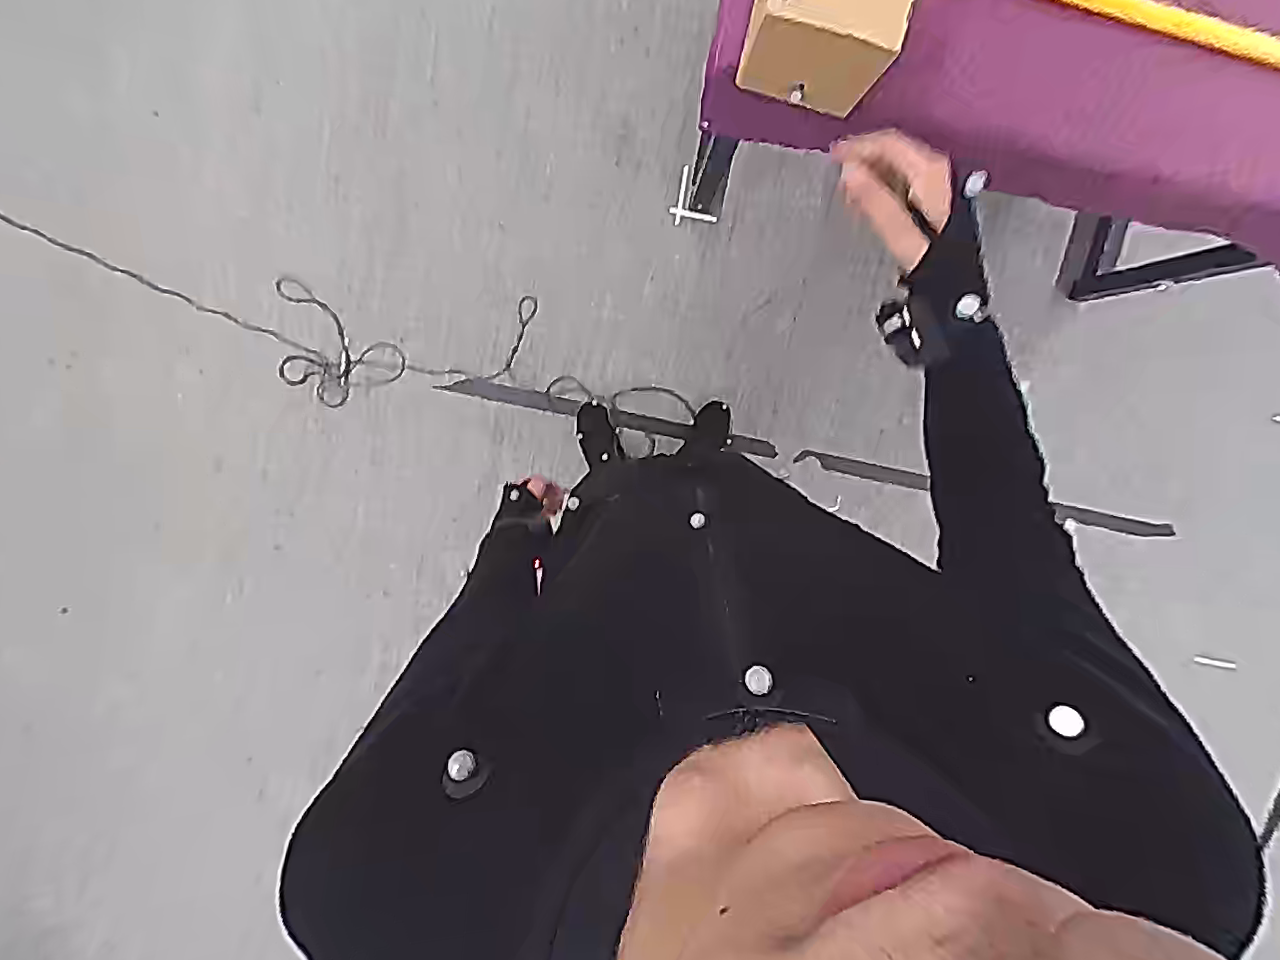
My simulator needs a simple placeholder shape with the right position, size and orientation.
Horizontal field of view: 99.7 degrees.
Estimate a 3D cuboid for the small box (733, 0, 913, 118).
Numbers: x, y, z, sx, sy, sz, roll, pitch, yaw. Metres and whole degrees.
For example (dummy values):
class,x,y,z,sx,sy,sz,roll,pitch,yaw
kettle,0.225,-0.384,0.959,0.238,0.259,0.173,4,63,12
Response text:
class,x,y,z,sx,sy,sz,roll,pitch,yaw
small box,0.244,-0.622,0.722,0.179,0.176,0.168,13,99,-6
